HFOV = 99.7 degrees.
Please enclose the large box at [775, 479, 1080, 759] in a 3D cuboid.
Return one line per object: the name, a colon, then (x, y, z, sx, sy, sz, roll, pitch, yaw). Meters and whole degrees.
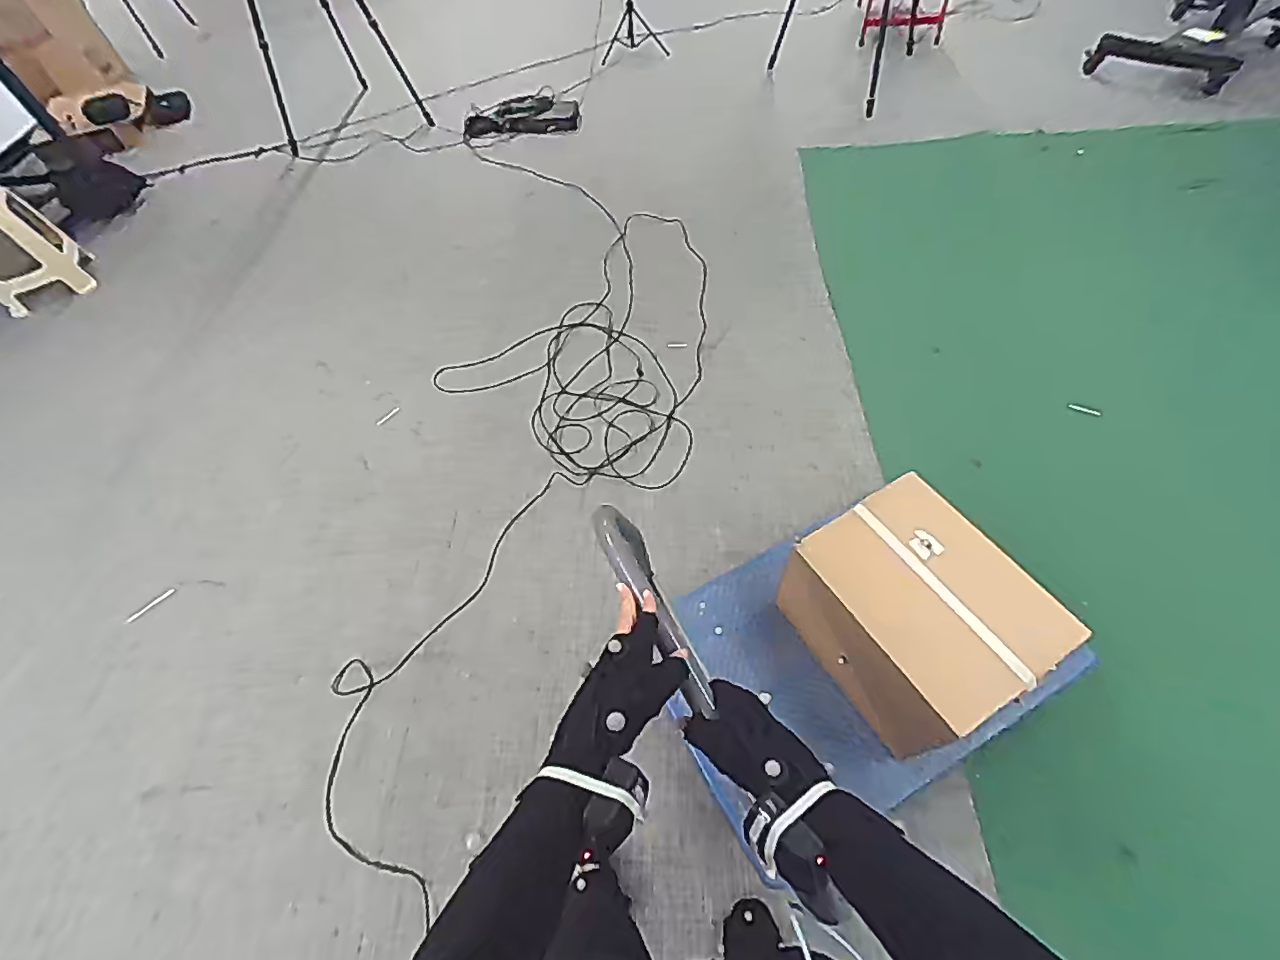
large box: (0.536, 0.284, 1.110, 0.320, 0.320, 0.408, -28, 58, -14)
